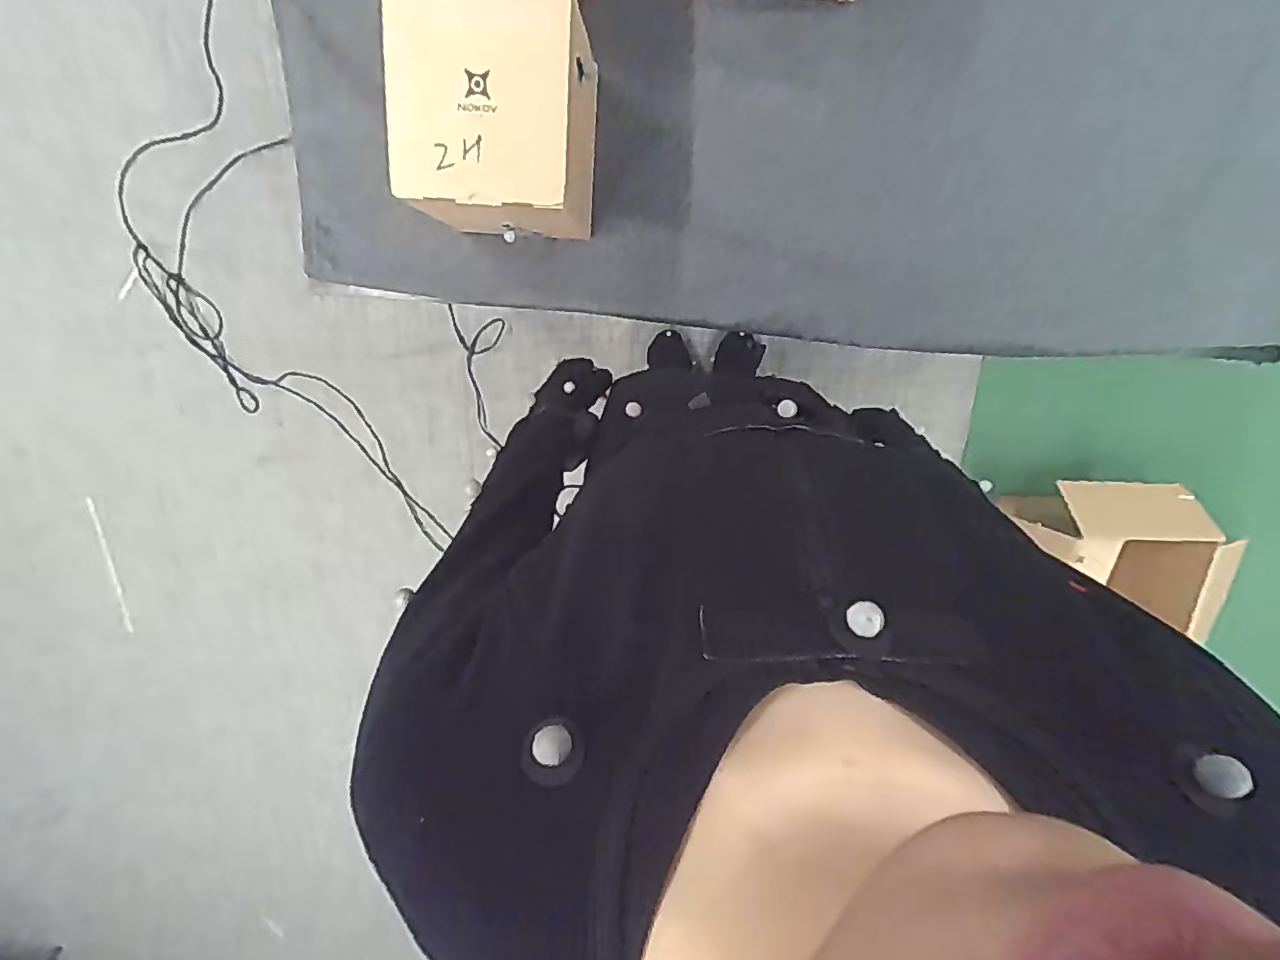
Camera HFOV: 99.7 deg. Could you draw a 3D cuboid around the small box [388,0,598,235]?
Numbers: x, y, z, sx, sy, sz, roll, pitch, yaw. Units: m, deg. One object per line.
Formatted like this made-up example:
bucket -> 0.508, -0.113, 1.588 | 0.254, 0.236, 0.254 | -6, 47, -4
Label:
small box -> -0.136, -0.366, 0.556 | 0.168, 0.176, 0.179 | 5, 106, 2
